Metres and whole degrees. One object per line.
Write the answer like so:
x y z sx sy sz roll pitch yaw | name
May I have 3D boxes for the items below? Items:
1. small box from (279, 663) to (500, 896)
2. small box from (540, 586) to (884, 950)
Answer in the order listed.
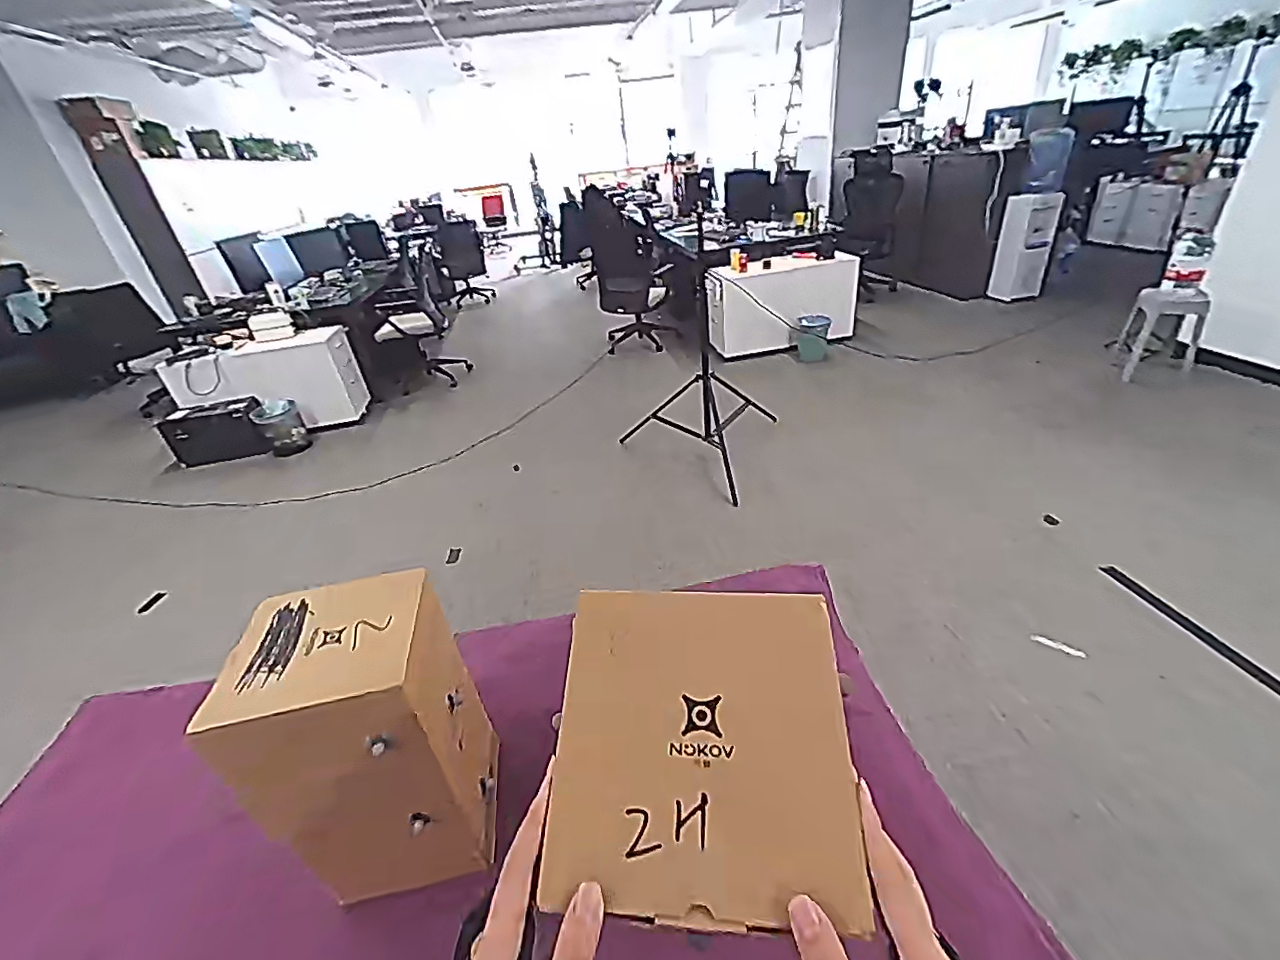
-0.278 0.356 0.649 0.179 0.176 0.168 -10 31 -6 | small box
0.046 0.190 0.367 0.168 0.176 0.179 0 53 8 | small box
